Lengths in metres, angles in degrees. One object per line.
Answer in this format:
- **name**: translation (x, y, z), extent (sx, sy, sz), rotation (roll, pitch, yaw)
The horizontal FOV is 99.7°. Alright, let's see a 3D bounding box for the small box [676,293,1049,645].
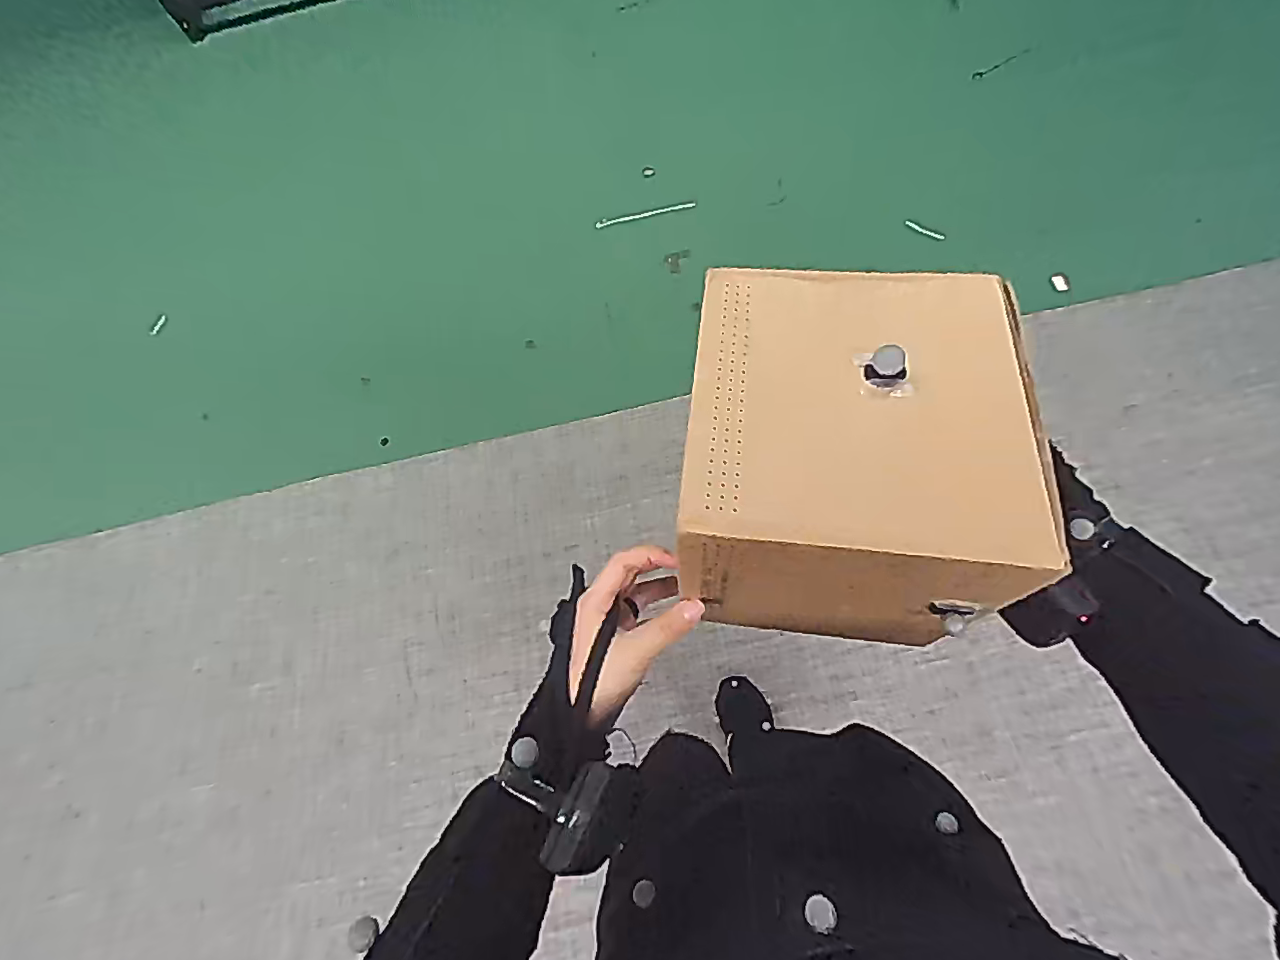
- **small box**: translation (0.115, -0.005, 0.356), extent (0.176, 0.168, 0.179), rotation (4, 62, 9)
